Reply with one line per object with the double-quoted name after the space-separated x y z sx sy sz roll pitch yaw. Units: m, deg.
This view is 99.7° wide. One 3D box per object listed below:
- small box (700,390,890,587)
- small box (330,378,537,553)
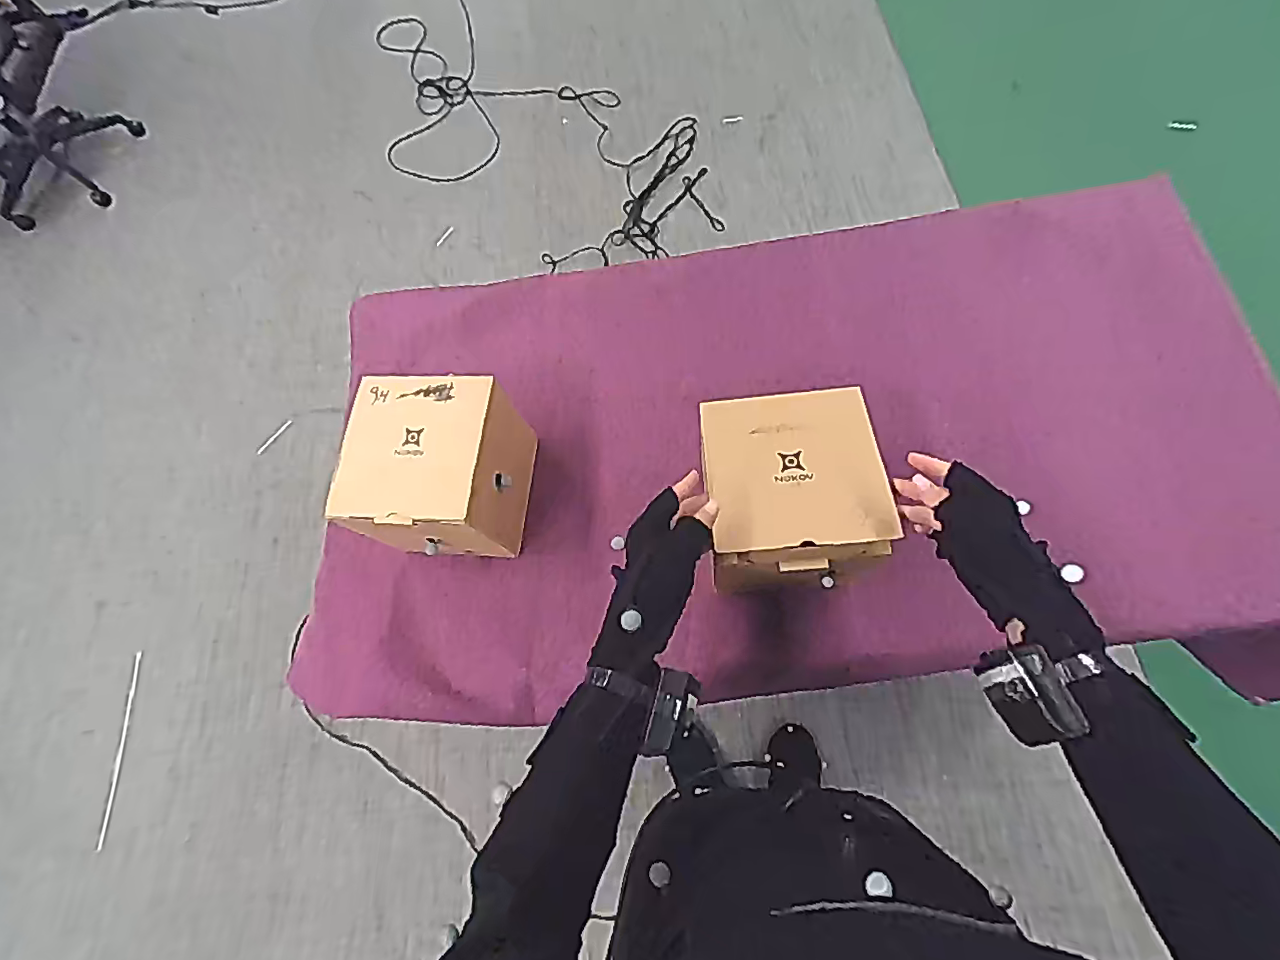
0.158 0.022 0.604 0.168 0.176 0.179 -5 69 6 "small box"
-0.238 -0.010 0.672 0.168 0.176 0.179 2 71 9 "small box"
